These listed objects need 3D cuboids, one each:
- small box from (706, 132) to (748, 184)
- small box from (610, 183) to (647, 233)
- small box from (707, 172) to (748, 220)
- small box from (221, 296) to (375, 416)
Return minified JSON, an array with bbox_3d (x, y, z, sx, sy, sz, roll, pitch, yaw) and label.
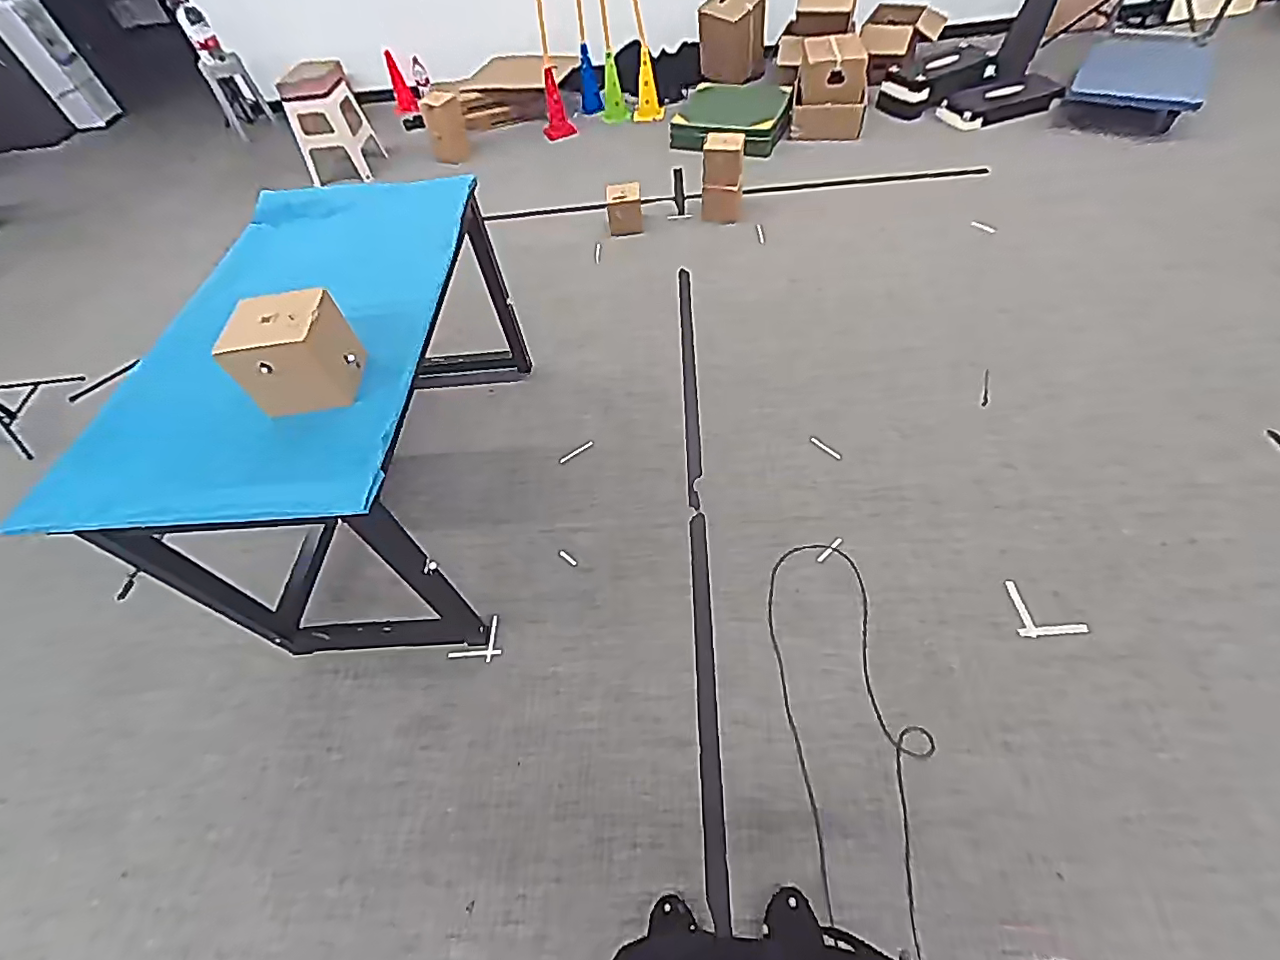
[{"bbox_3d":[0.416,-1.545,2.596,0.179,0.176,0.168,9,56,12],"label":"small box"},{"bbox_3d":[-0.055,-1.368,2.729,0.168,0.176,0.179,-5,53,4],"label":"small box"},{"bbox_3d":[0.435,-1.426,2.712,0.179,0.176,0.168,11,55,13],"label":"small box"},{"bbox_3d":[-0.672,-0.243,1.086,0.179,0.176,0.168,-4,54,2],"label":"small box"}]
